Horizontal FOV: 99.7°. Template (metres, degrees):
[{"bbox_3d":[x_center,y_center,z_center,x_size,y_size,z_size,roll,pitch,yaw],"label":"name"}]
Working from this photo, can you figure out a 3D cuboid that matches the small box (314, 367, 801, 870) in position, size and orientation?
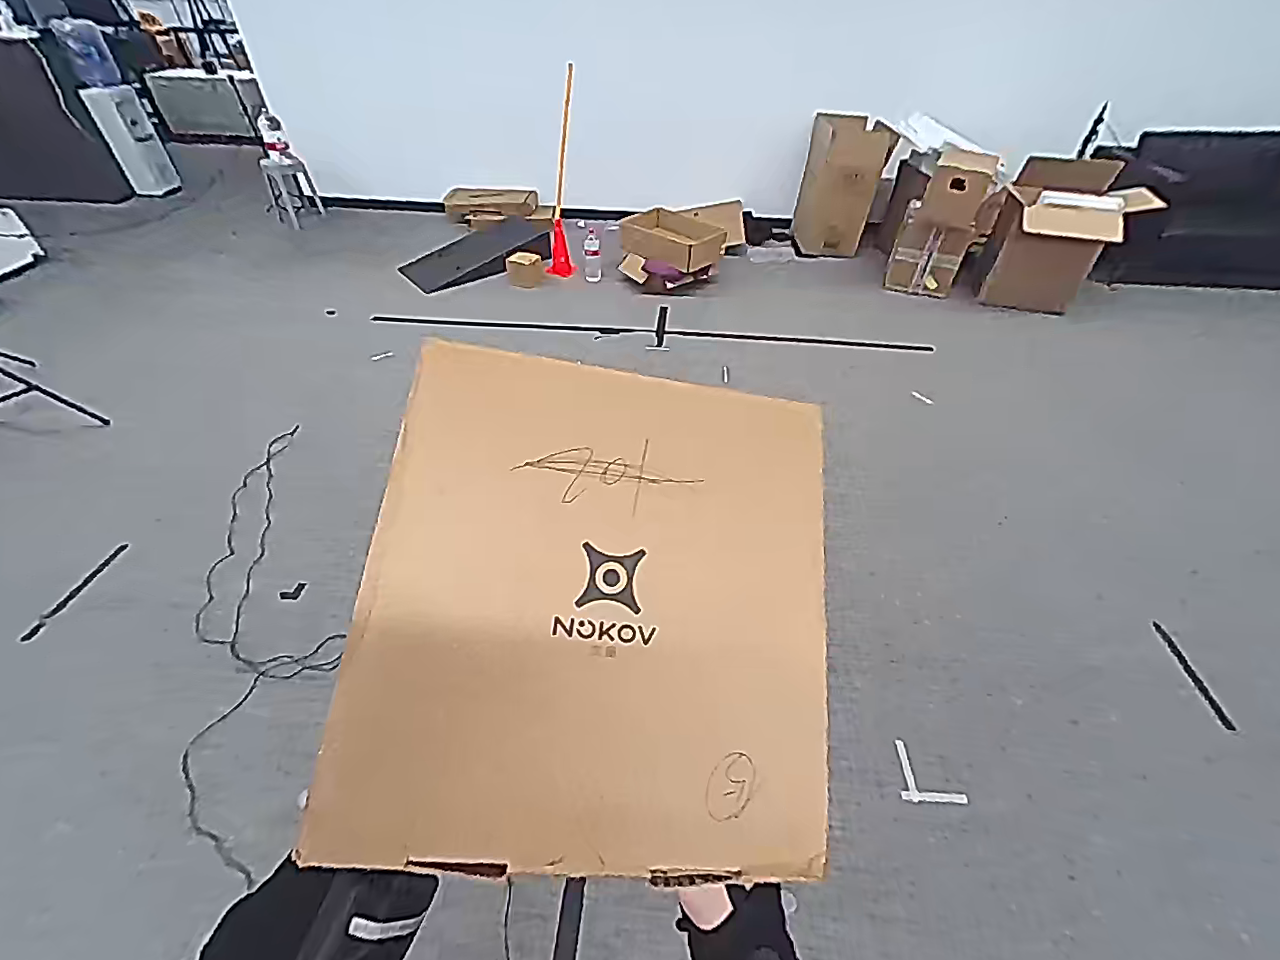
[{"bbox_3d":[-0.031,0.070,0.281,0.168,0.176,0.179,8,70,-9],"label":"small box"}]
